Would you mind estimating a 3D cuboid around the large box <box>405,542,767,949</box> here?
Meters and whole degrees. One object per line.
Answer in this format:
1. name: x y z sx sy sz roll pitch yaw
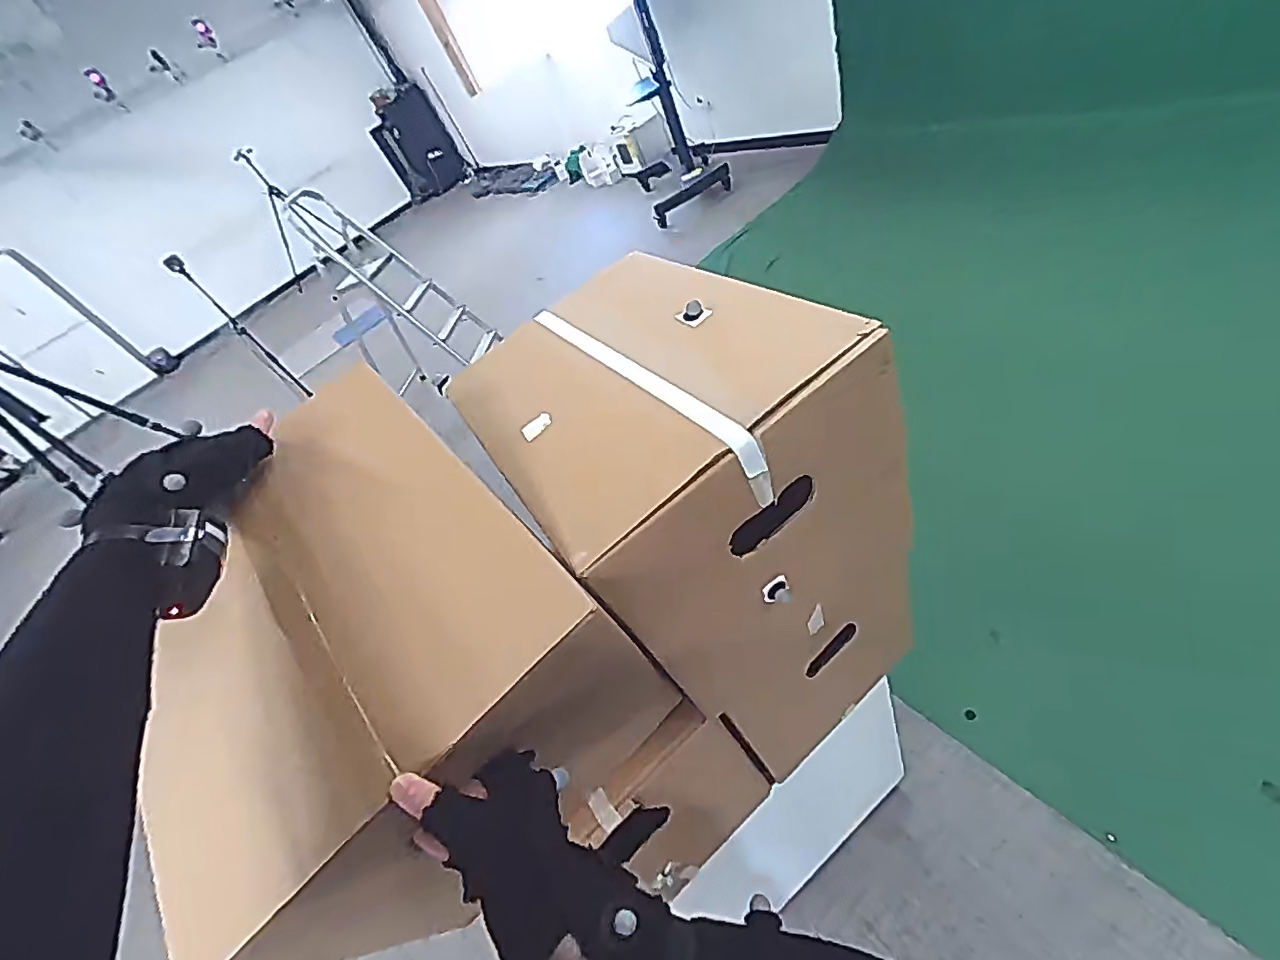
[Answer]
1. large box: -0.084 0.371 0.815 0.320 0.320 0.408 -40 40 -13
